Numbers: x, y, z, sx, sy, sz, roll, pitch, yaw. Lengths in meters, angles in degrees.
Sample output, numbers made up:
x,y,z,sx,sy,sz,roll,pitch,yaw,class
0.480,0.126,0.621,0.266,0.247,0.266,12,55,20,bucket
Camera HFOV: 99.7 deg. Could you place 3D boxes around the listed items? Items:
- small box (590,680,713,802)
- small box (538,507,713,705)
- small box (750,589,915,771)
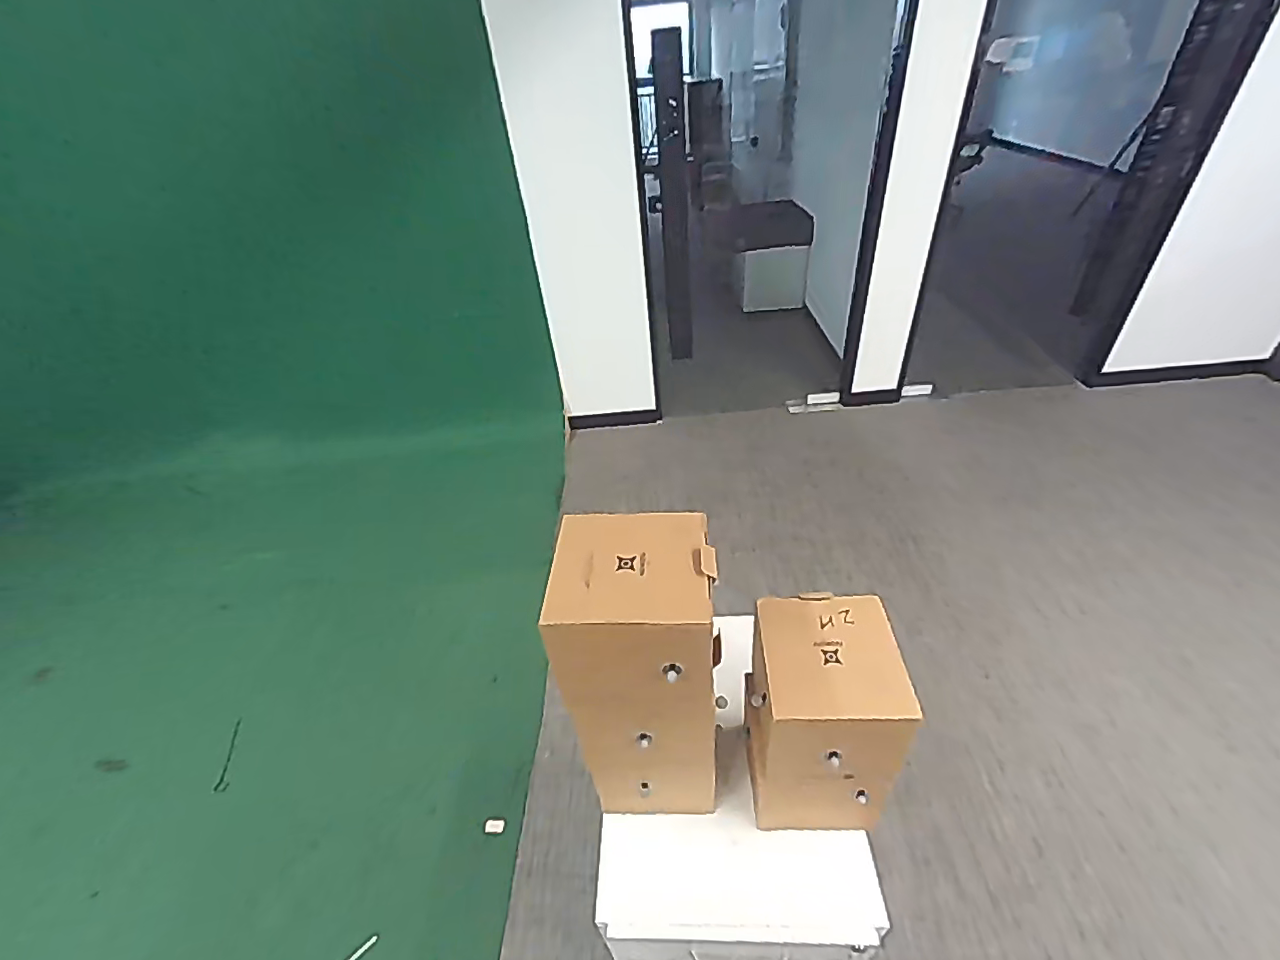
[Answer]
x,y,z,sx,sy,sz,roll,pitch,yaw,class
0.024,0.394,0.860,0.179,0.176,0.168,-2,40,3,small box
-0.006,0.149,0.643,0.179,0.176,0.168,-2,38,5,small box
0.240,0.268,0.723,0.168,0.176,0.179,-2,39,5,small box
